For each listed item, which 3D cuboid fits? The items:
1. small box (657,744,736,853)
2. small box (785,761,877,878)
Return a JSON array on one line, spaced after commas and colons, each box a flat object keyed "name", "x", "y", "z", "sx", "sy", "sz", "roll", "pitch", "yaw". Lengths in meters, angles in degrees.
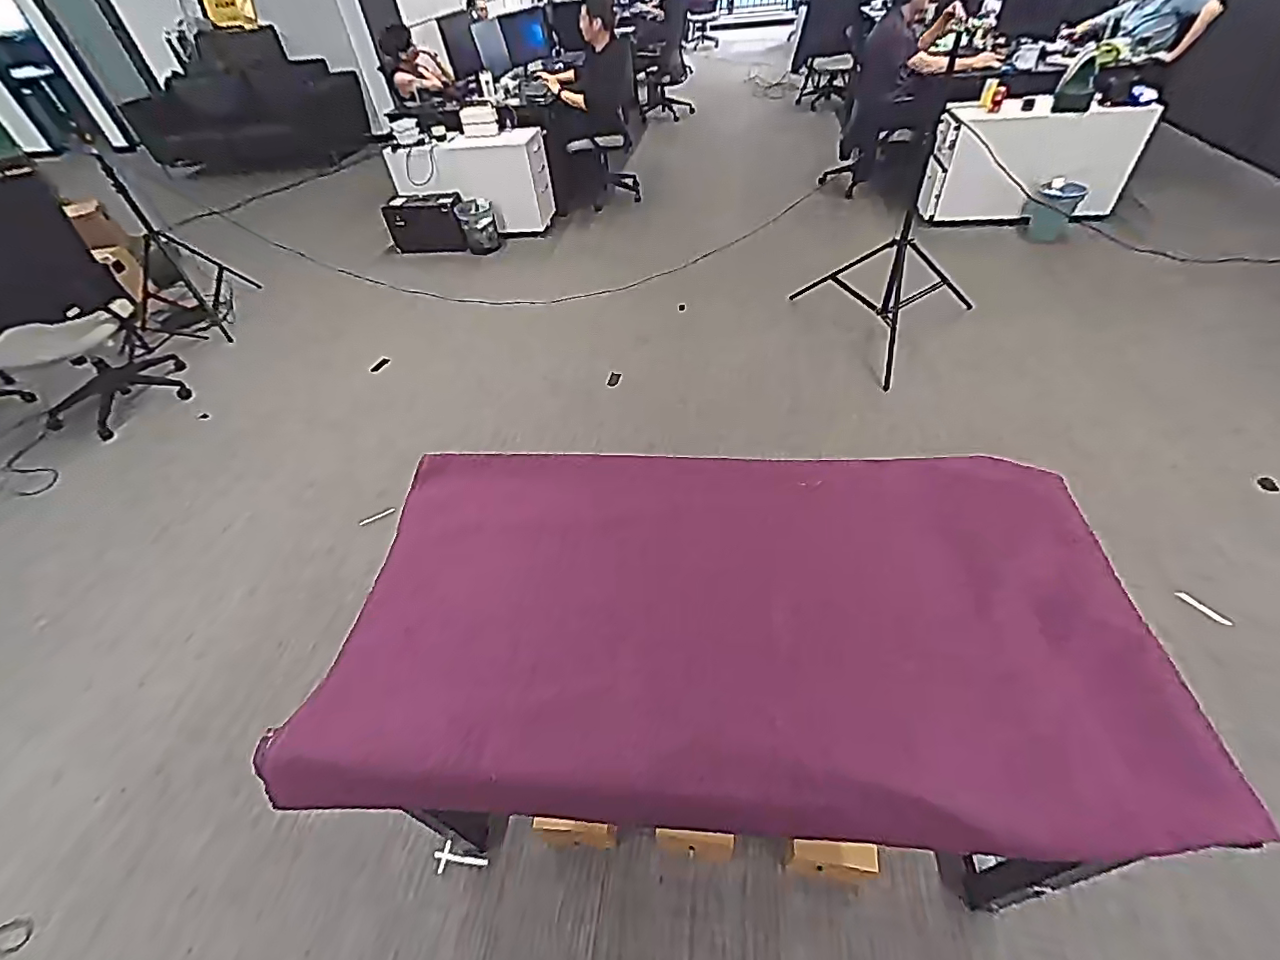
[{"name": "small box", "x": 0.135, "y": 0.743, "z": 1.256, "sx": 0.168, "sy": 0.176, "sz": 0.179, "roll": 3, "pitch": 46, "yaw": 9}, {"name": "small box", "x": 0.420, "y": 0.762, "z": 1.209, "sx": 0.168, "sy": 0.176, "sz": 0.179, "roll": 4, "pitch": 46, "yaw": 11}]
